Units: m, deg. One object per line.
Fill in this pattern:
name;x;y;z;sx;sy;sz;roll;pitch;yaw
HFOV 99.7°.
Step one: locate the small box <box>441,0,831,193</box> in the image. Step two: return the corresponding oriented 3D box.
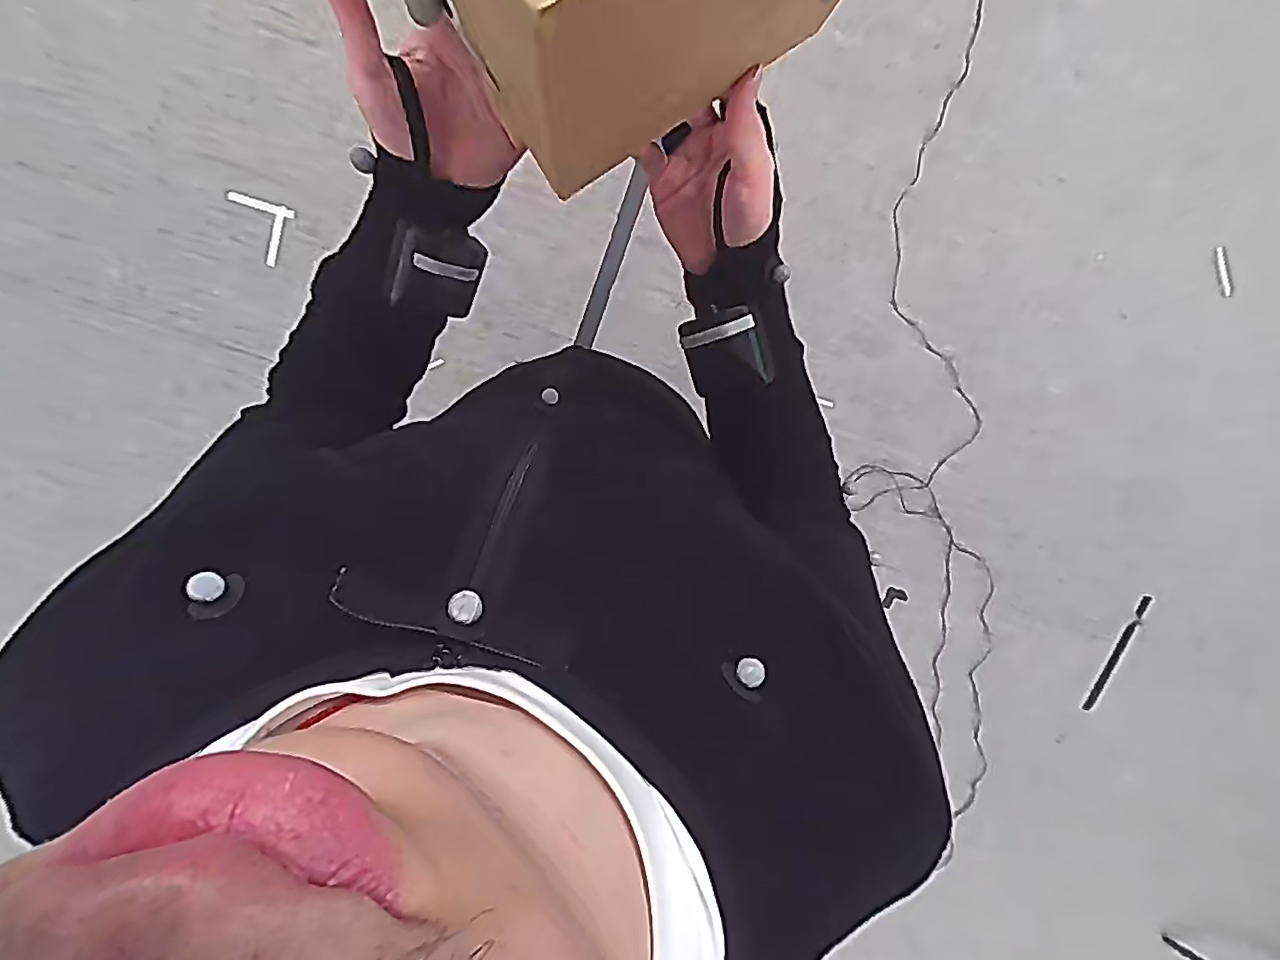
small box;-0.004;-0.261;0.221;0.179;0.176;0.168;-34;101;1
